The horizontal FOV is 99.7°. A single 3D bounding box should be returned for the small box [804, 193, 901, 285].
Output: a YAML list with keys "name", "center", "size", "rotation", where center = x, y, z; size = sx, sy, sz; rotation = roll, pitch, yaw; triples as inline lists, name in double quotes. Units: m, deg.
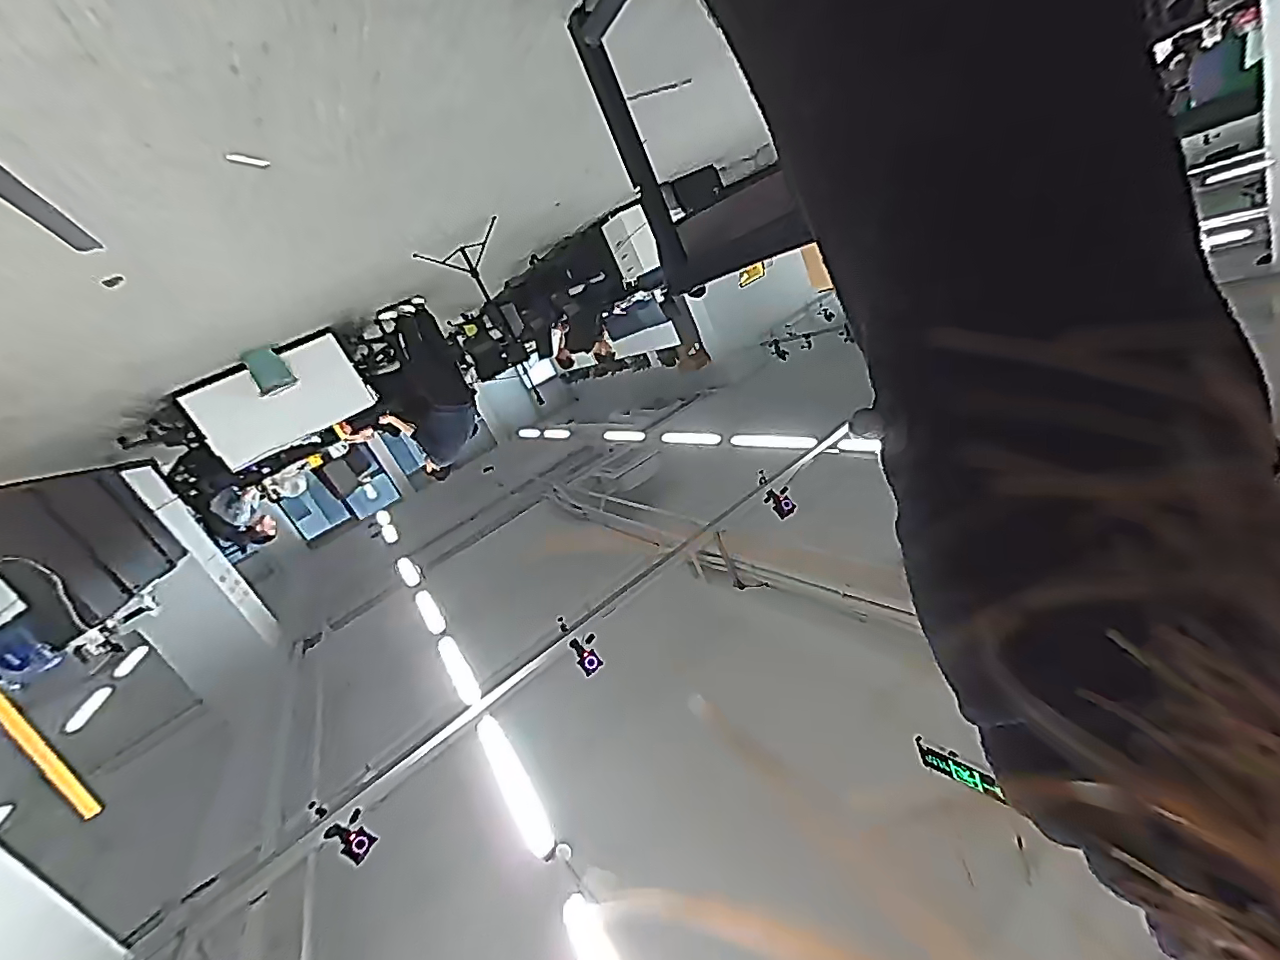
- name: "small box"
  center: [0.574, -0.659, 1.485]
  size: [0.168, 0.176, 0.179]
  rotation: [-30, -162, -9]
